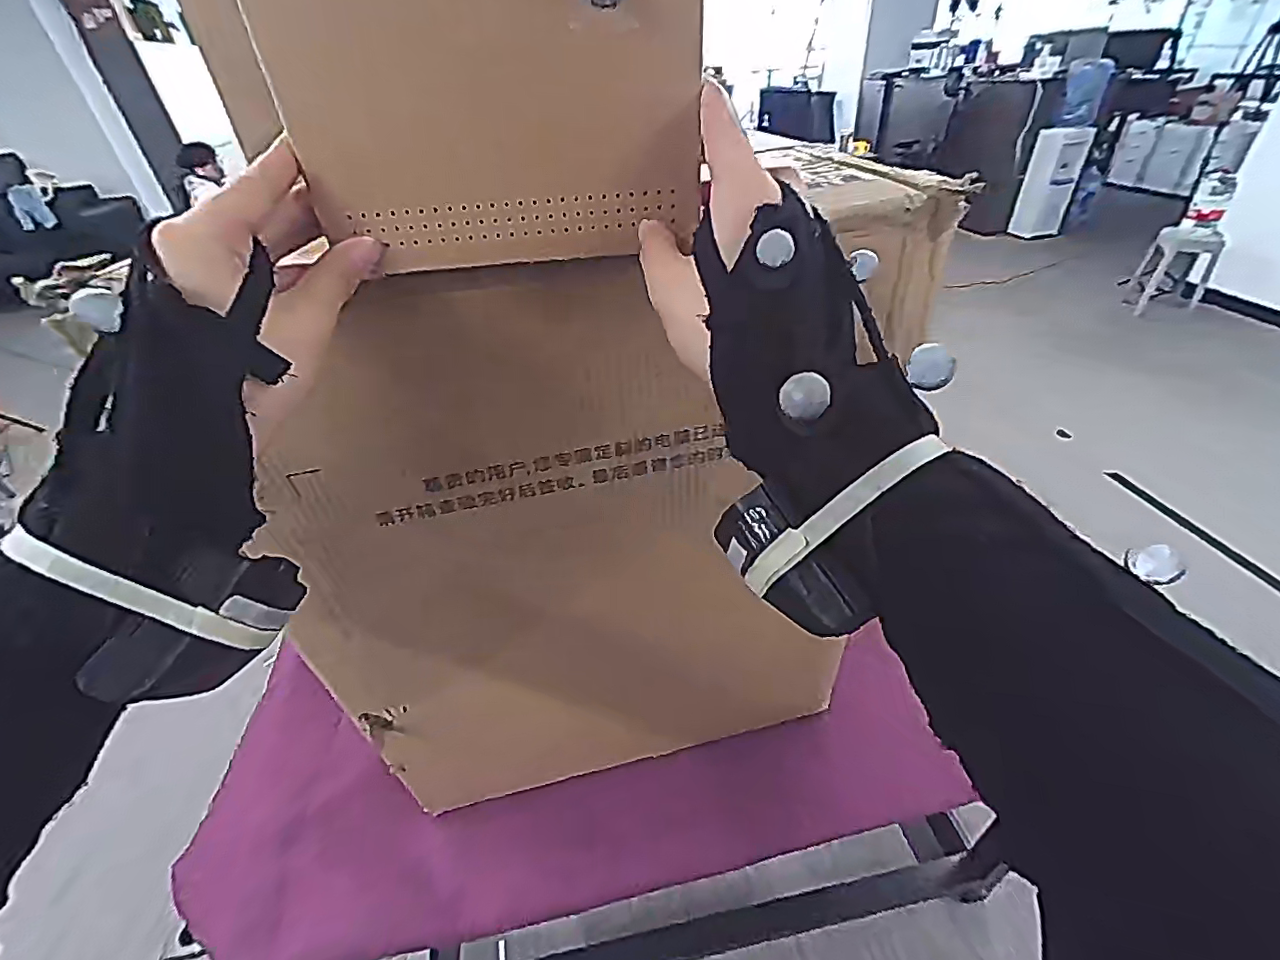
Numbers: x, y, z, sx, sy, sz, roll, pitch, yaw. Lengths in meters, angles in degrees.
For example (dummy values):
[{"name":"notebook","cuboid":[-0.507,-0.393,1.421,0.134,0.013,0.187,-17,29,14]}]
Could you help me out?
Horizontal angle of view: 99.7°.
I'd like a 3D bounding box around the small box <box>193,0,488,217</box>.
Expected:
[{"name":"small box","cuboid":[-0.230,-0.331,0.455,0.168,0.176,0.179,-11,38,-8]}]
